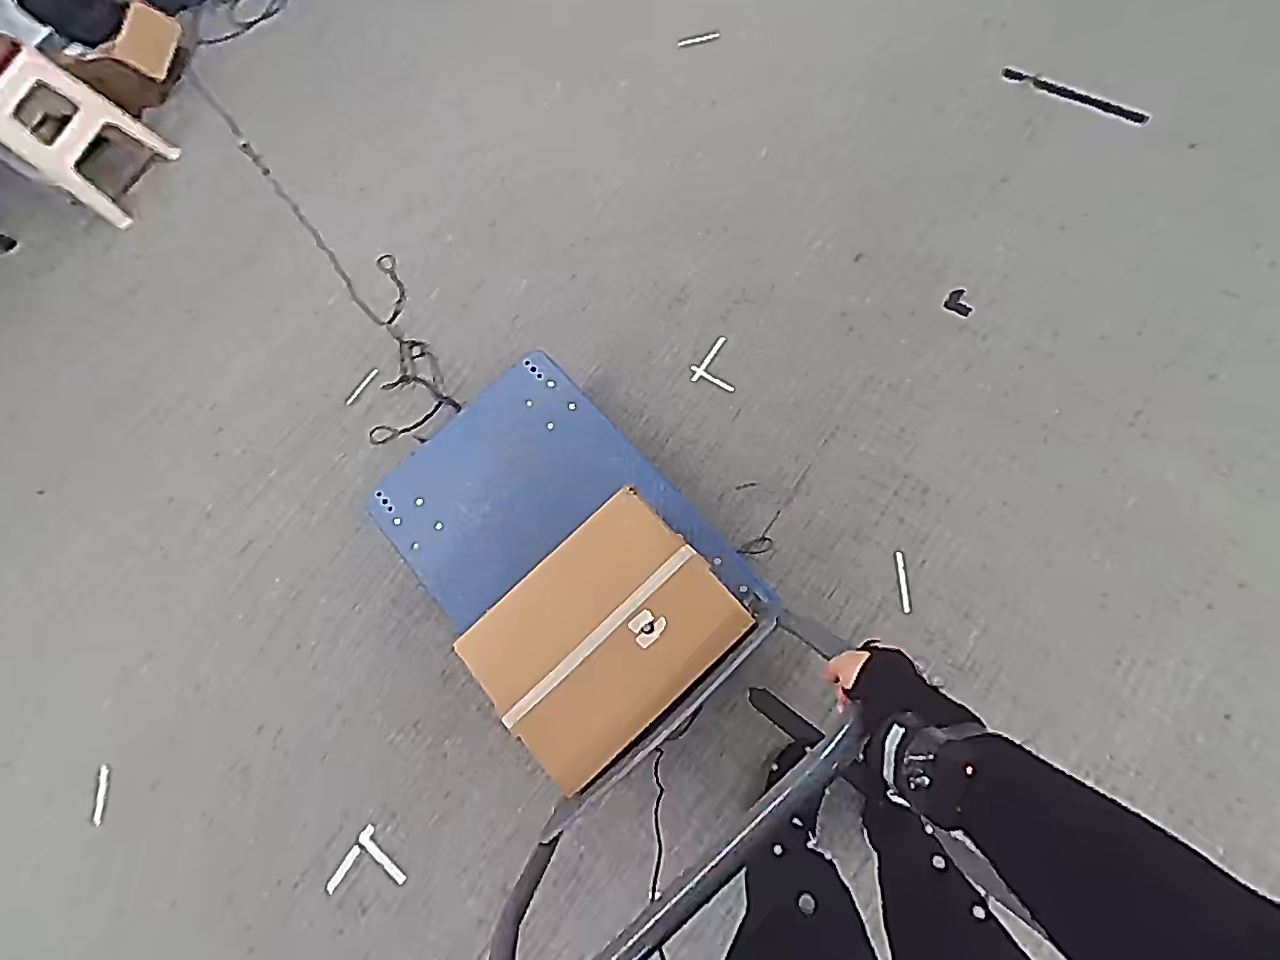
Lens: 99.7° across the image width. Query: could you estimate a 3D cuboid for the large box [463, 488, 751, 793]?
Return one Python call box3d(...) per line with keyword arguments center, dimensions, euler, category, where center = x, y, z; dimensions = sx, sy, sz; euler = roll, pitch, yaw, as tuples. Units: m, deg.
box3d(center=(-0.045, 0.288, 1.039), dimensions=(0.408, 0.320, 0.320), euler=(-43, 77, -4), category="large box")
